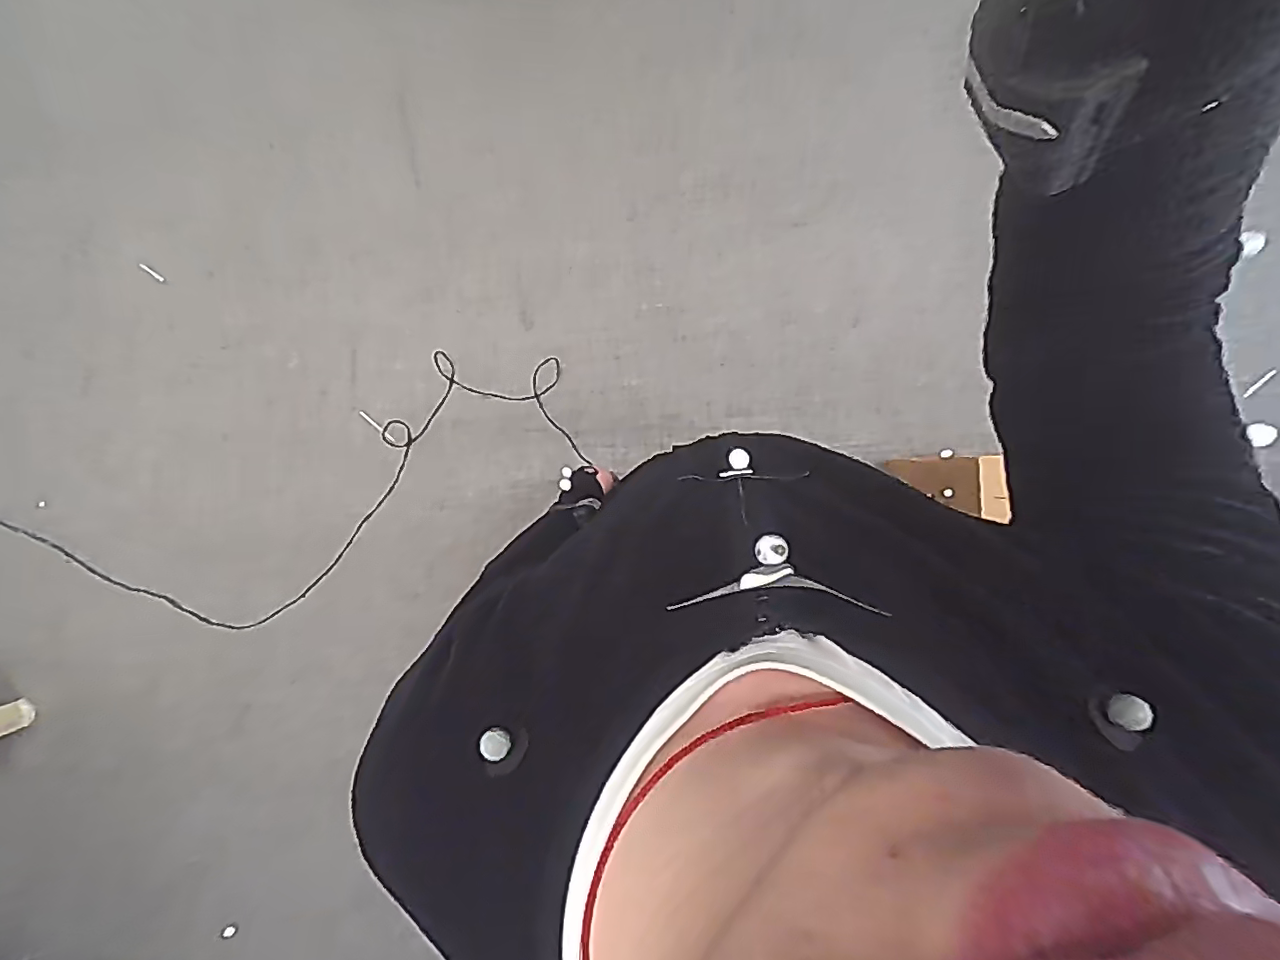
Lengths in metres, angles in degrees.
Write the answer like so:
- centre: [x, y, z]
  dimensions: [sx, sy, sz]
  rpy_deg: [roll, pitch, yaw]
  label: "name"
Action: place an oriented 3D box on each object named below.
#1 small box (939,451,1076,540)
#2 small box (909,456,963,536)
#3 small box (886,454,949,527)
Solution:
- centre: [0.735, 0.026, 1.096]
  dimensions: [0.179, 0.176, 0.168]
  rpy_deg: [-3, 91, 7]
  label: "small box"
- centre: [0.744, 0.030, 1.260]
  dimensions: [0.168, 0.176, 0.179]
  rpy_deg: [-4, 92, 6]
  label: "small box"
- centre: [0.762, 0.023, 1.423]
  dimensions: [0.168, 0.176, 0.179]
  rpy_deg: [-3, 93, 5]
  label: "small box"
